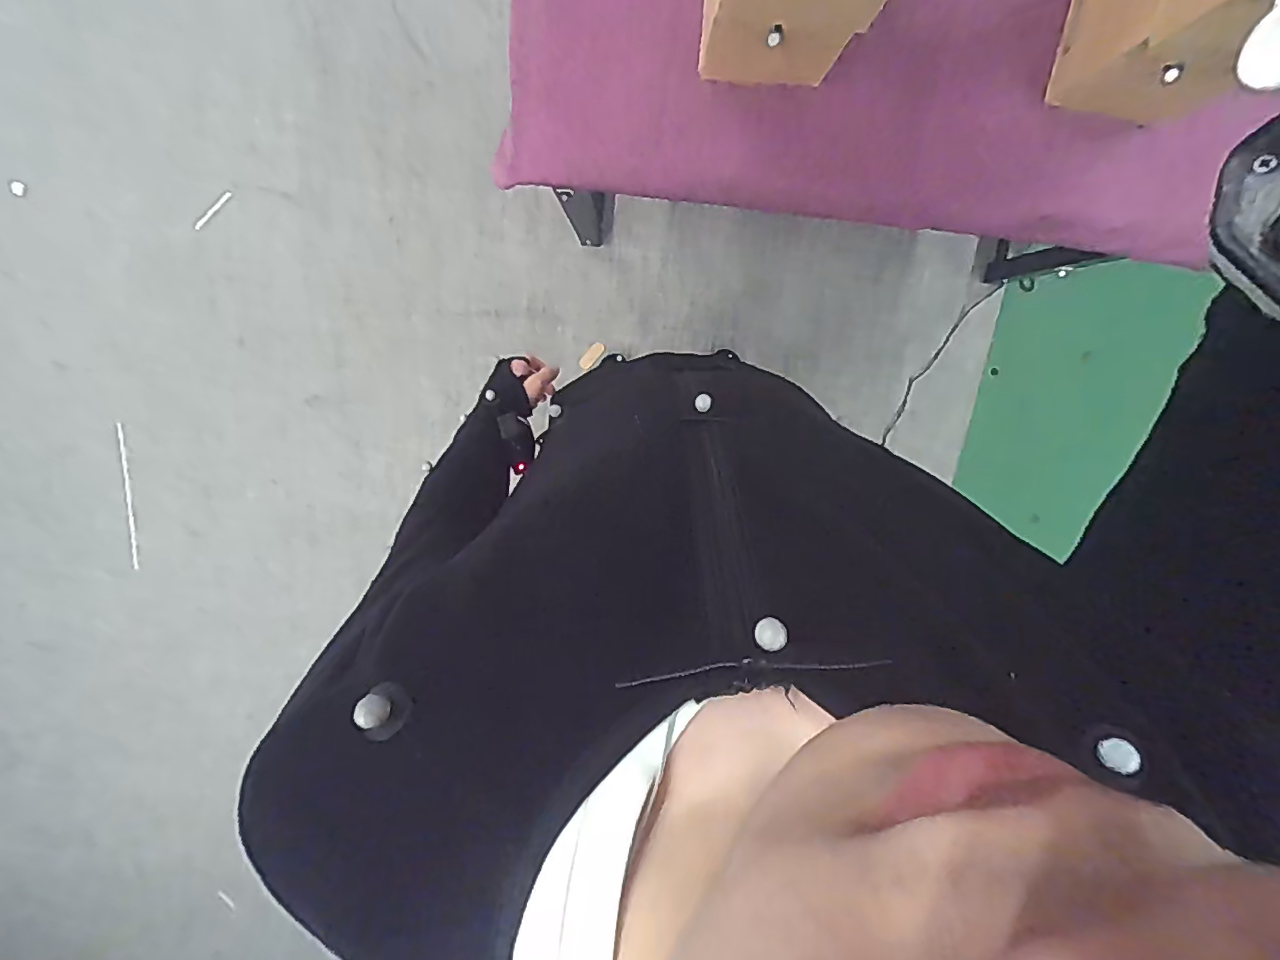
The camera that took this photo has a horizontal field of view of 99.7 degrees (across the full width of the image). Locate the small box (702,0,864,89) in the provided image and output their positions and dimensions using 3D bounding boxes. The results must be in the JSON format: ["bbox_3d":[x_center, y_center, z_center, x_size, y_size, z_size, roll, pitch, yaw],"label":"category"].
[{"bbox_3d":[0.180,-0.627,0.684,0.179,0.176,0.168,4,103,1],"label":"small box"}]

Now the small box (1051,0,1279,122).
[{"bbox_3d":[0.676,-0.585,0.683,0.179,0.176,0.168,8,103,-1],"label":"small box"}]

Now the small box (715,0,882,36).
[{"bbox_3d":[0.179,-0.576,0.526,0.179,0.176,0.168,6,103,0],"label":"small box"}]
